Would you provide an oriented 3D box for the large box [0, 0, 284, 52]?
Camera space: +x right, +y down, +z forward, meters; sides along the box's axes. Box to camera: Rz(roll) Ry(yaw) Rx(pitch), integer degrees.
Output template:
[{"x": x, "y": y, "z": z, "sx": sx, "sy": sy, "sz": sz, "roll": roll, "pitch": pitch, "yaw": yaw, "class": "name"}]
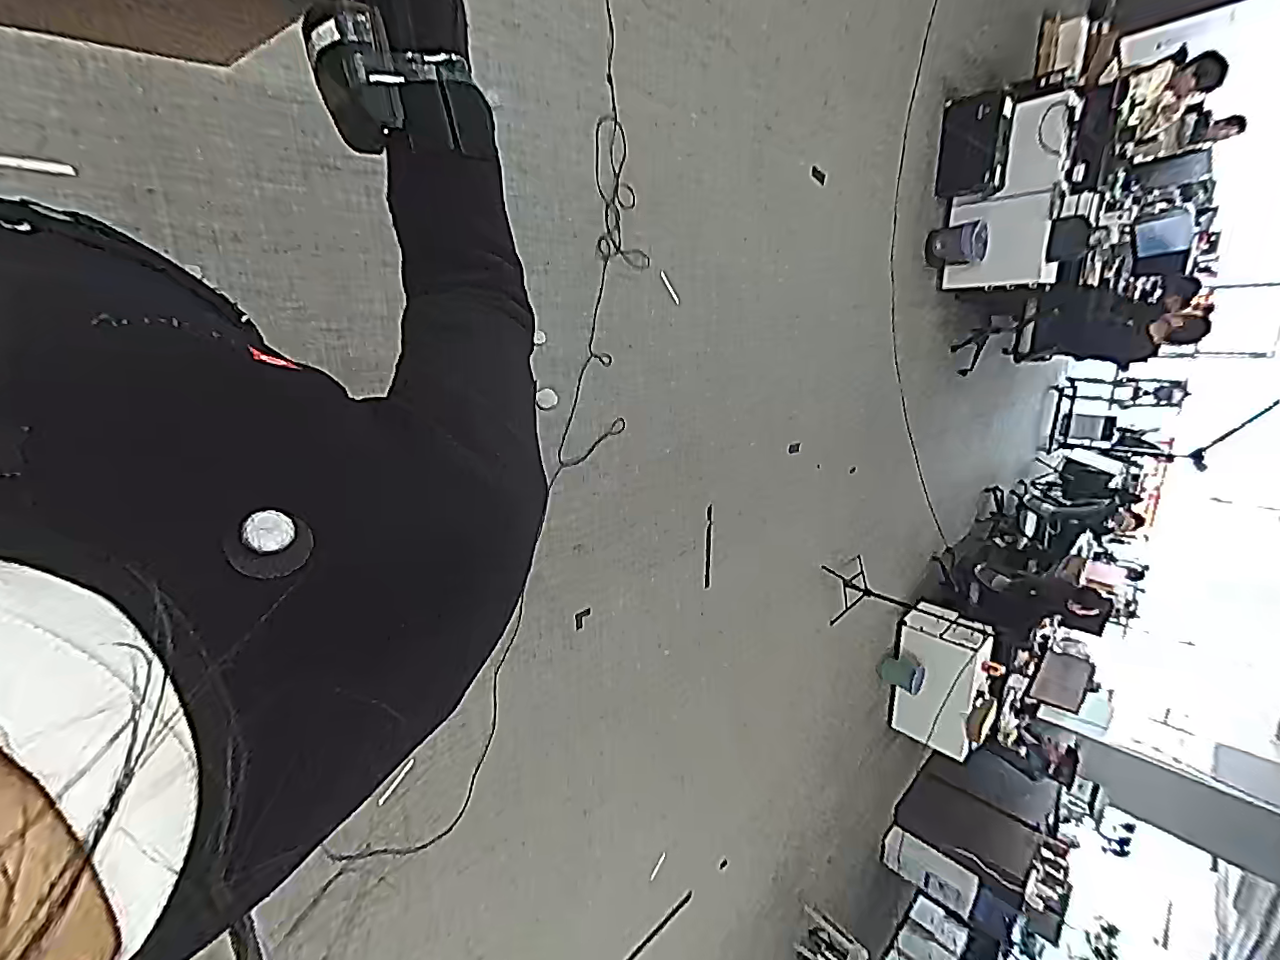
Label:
[{"x": -0.418, "y": -0.413, "z": 0.207, "sx": 0.408, "sy": 0.320, "sz": 0.320, "roll": -21, "pitch": 127, "yaw": -40, "class": "large box"}]
